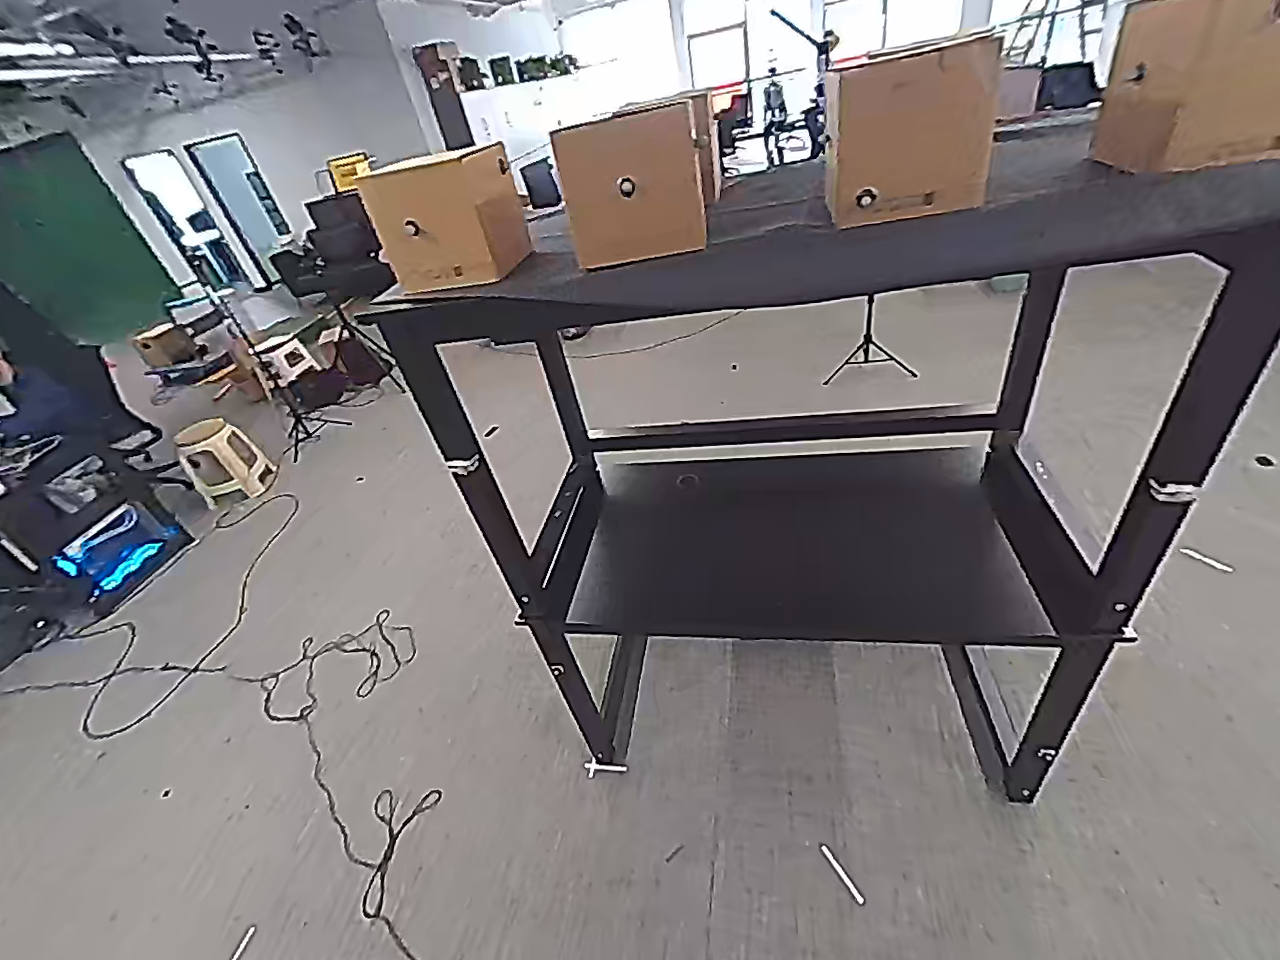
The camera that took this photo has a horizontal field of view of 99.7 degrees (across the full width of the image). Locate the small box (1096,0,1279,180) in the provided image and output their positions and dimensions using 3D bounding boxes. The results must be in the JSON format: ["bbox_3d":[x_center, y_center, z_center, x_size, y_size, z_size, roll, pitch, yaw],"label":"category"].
[{"bbox_3d":[0.660,-0.449,0.604,0.168,0.176,0.179,-3,36,15],"label":"small box"}]

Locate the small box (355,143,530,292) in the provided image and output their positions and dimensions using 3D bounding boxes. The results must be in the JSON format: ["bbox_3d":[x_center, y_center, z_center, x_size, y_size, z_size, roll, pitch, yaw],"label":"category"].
[{"bbox_3d":[-0.288,-0.399,0.837,0.168,0.176,0.179,-3,37,13],"label":"small box"}]

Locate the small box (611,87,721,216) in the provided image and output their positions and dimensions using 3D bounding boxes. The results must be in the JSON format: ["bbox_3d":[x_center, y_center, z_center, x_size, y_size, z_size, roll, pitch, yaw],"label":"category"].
[{"bbox_3d":[0.057,-0.596,0.991,0.168,0.176,0.179,-2,38,13],"label":"small box"}]

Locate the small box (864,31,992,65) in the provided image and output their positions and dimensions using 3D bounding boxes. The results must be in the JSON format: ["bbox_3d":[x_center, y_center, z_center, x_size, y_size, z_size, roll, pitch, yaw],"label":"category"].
[{"bbox_3d":[0.459,-0.618,0.898,0.168,0.176,0.179,2,38,18],"label":"small box"}]

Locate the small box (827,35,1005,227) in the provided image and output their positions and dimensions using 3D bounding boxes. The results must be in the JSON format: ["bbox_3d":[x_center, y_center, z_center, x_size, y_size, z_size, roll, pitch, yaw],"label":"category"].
[{"bbox_3d":[0.329,-0.430,0.683,0.168,0.176,0.179,-2,35,15],"label":"small box"}]
